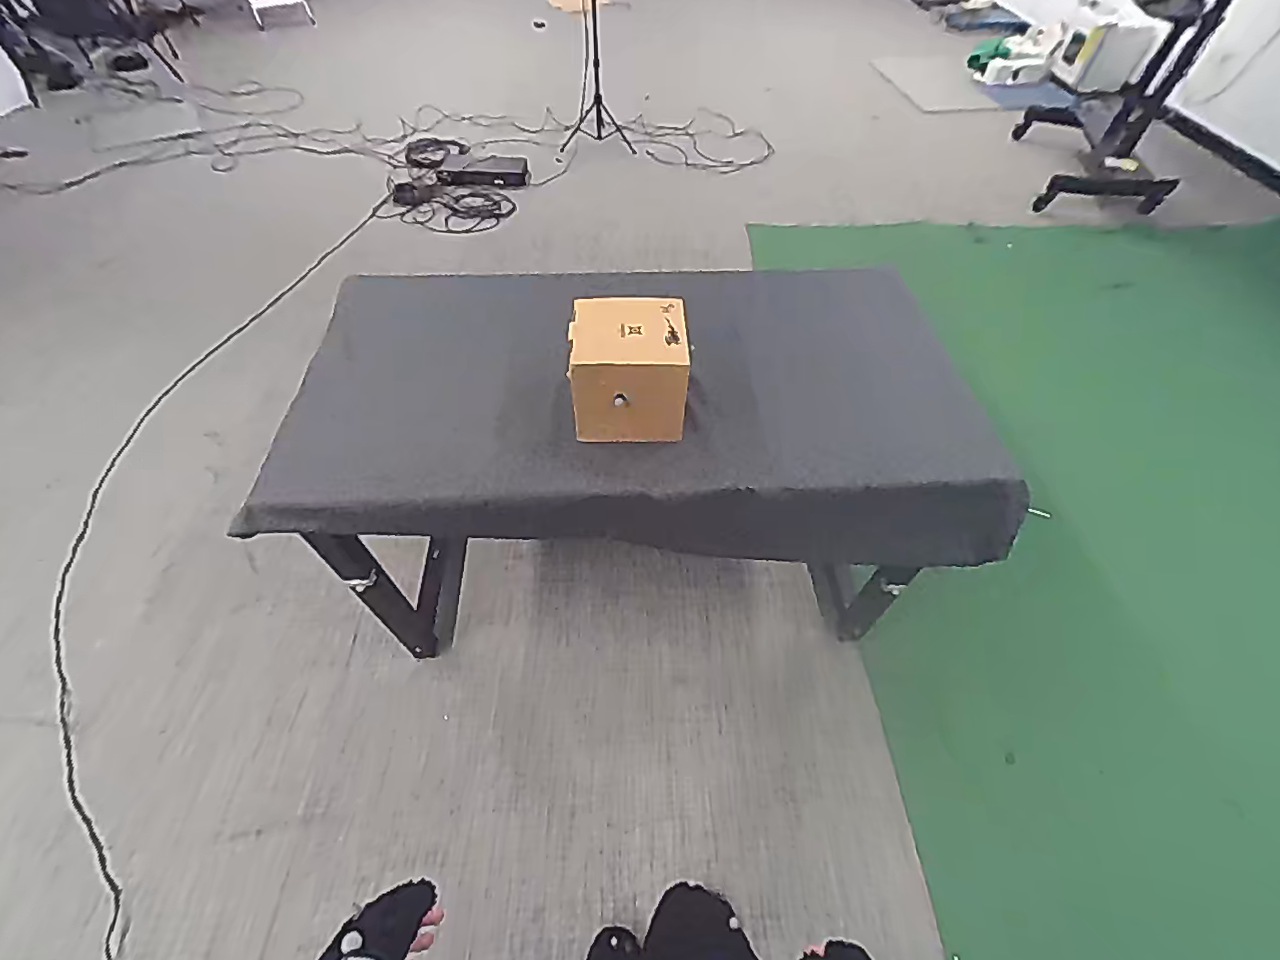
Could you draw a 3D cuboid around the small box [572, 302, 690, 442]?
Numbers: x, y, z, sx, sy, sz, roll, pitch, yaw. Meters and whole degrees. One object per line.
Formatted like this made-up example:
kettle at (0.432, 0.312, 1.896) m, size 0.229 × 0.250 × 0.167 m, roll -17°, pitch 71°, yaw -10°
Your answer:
small box at (-0.018, -0.176, 0.898) m, size 0.179 × 0.176 × 0.168 m, roll -2°, pitch 51°, yaw -4°
